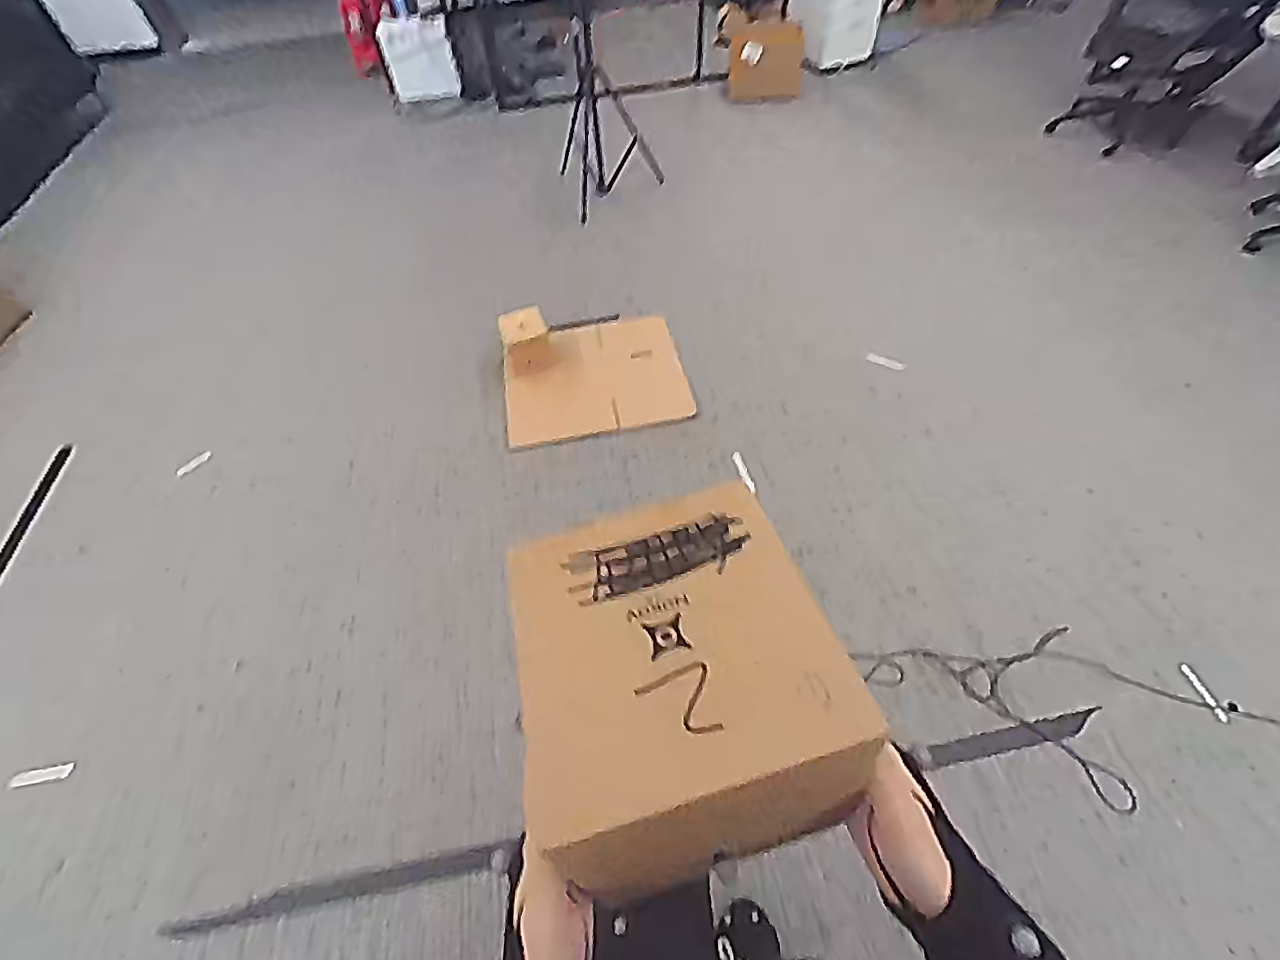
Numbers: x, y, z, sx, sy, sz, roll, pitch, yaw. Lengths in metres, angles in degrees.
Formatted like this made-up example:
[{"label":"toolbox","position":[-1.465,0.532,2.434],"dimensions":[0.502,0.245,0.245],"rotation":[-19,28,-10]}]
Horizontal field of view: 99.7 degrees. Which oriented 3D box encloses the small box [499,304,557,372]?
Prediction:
[{"label":"small box","position":[-0.439,-0.555,2.128],"dimensions":[0.168,0.176,0.179],"rotation":[-19,55,-9]}]
